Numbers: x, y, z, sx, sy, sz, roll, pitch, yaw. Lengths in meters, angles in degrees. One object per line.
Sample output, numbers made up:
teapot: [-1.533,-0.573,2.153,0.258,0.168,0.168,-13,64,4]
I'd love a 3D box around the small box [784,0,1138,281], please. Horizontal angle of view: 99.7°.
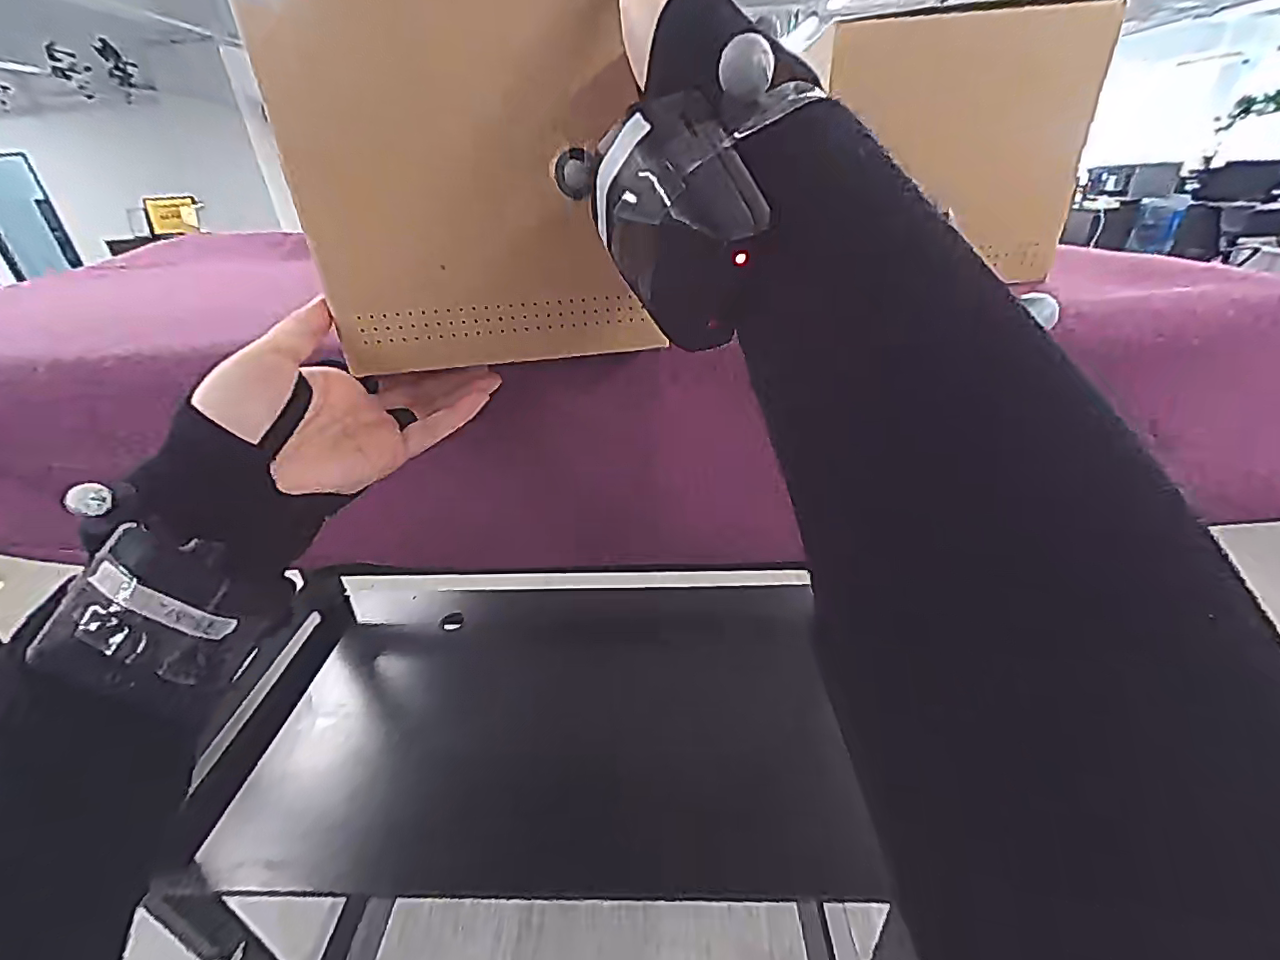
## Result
small box: [0.221,-0.263,0.434,0.179,0.176,0.168,-1,29,5]

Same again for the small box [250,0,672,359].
small box: [-0.080,-0.181,0.326,0.179,0.176,0.168,-7,29,-6]
